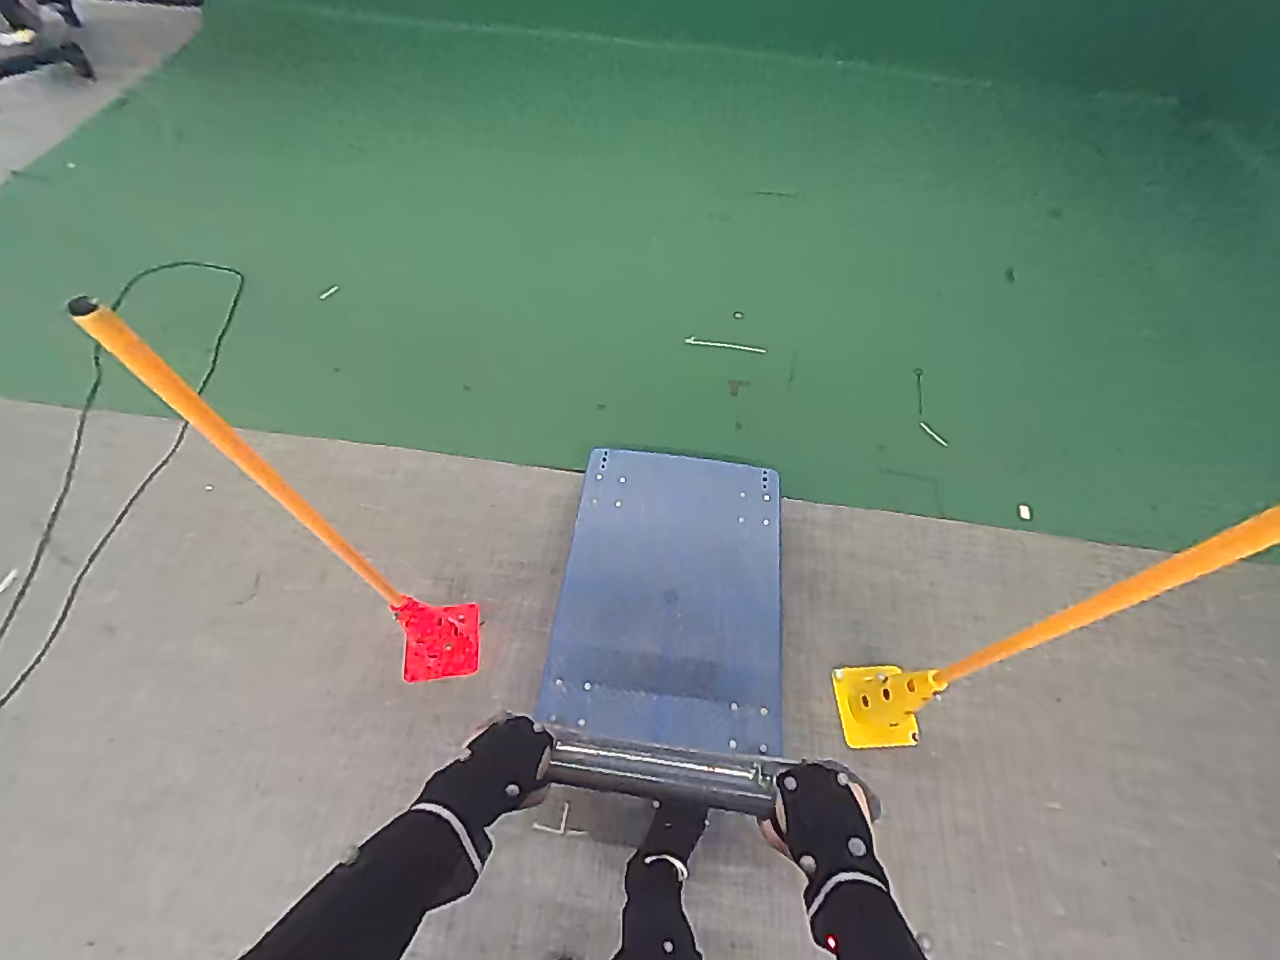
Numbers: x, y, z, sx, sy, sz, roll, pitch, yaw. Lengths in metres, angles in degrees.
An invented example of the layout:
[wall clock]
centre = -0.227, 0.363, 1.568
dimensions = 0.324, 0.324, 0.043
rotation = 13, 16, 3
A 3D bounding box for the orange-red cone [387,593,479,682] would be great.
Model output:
[orange-red cone]
centre = -0.545, 0.359, 1.342
dimensions = 0.199, 0.360, 0.198
rotation = -6, 59, -4
